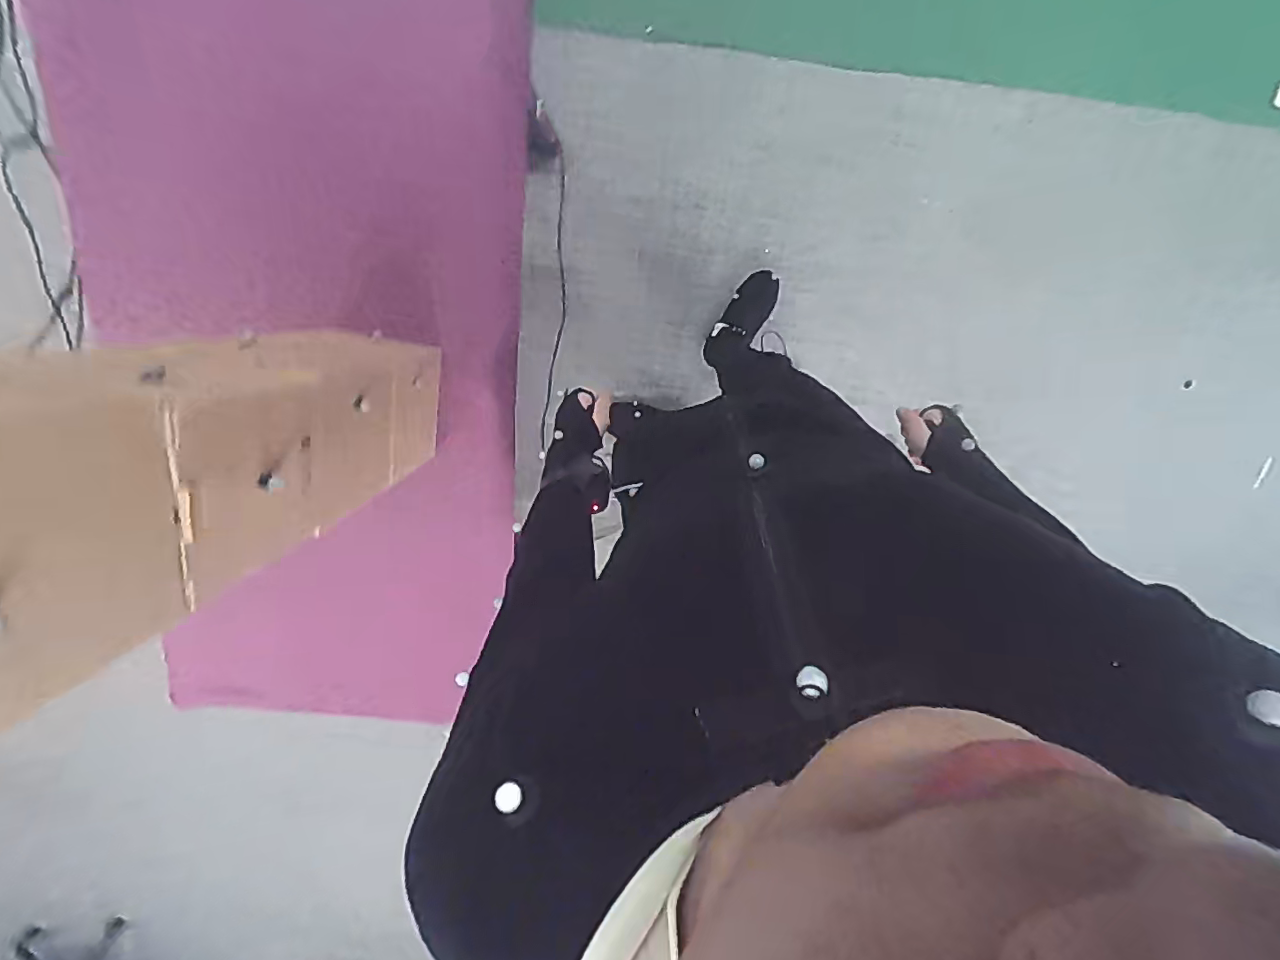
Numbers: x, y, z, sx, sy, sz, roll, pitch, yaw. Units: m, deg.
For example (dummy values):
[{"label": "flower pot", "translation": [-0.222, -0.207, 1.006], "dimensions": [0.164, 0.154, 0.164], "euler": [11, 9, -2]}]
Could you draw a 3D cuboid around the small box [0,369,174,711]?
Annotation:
[{"label": "small box", "translation": [-0.417, 0.035, 0.309], "dimensions": [0.168, 0.176, 0.179], "euler": [8, 106, -1]}]
